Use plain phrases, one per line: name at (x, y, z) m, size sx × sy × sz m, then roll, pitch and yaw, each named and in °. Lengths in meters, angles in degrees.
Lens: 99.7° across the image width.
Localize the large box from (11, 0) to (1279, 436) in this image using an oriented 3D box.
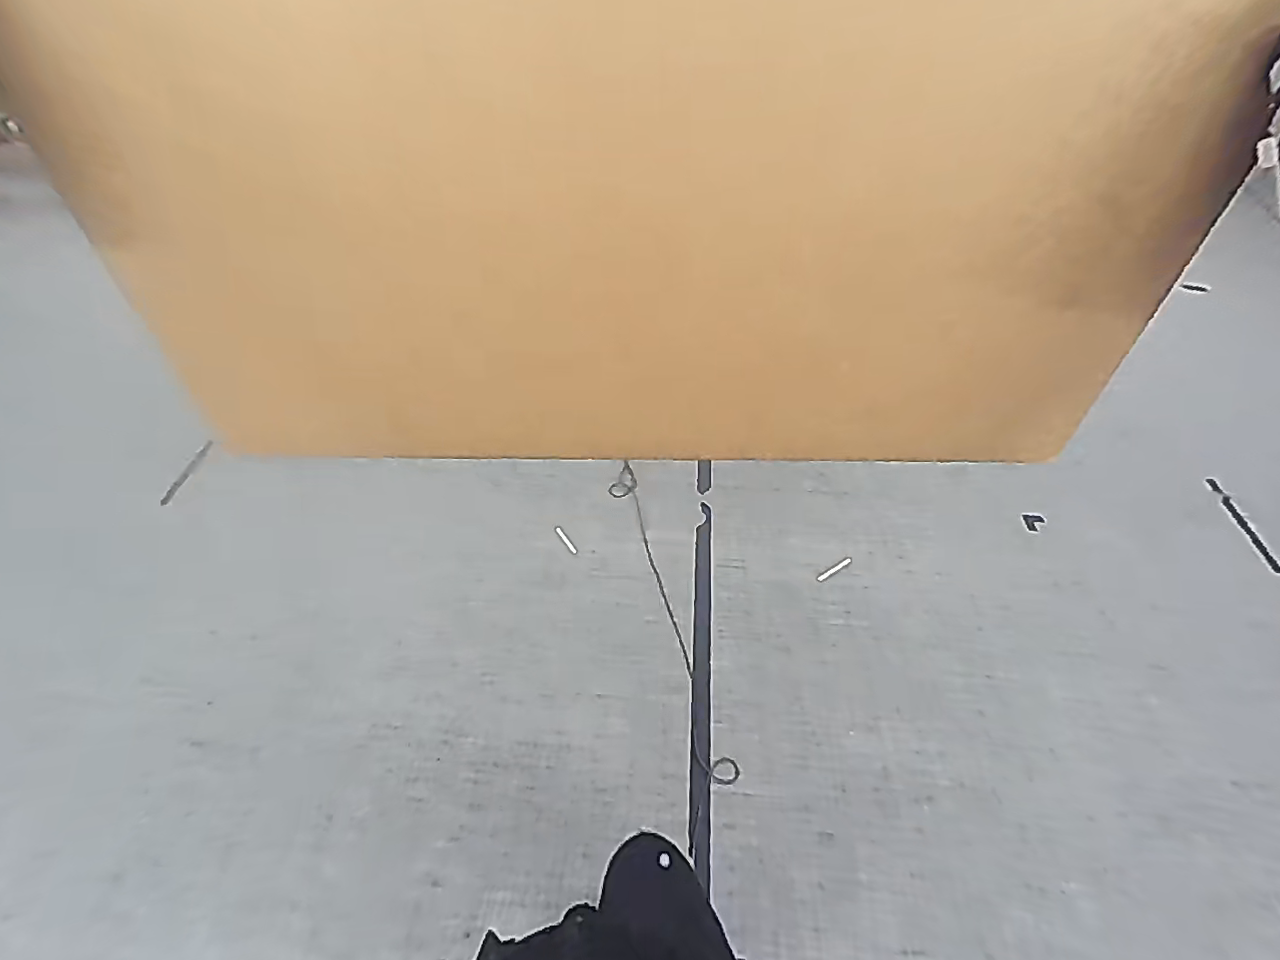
large box at (0.005, -0.232, 0.284) m, size 0.408 × 0.320 × 0.320 m, roll 1°, pitch 41°, yaw -2°
